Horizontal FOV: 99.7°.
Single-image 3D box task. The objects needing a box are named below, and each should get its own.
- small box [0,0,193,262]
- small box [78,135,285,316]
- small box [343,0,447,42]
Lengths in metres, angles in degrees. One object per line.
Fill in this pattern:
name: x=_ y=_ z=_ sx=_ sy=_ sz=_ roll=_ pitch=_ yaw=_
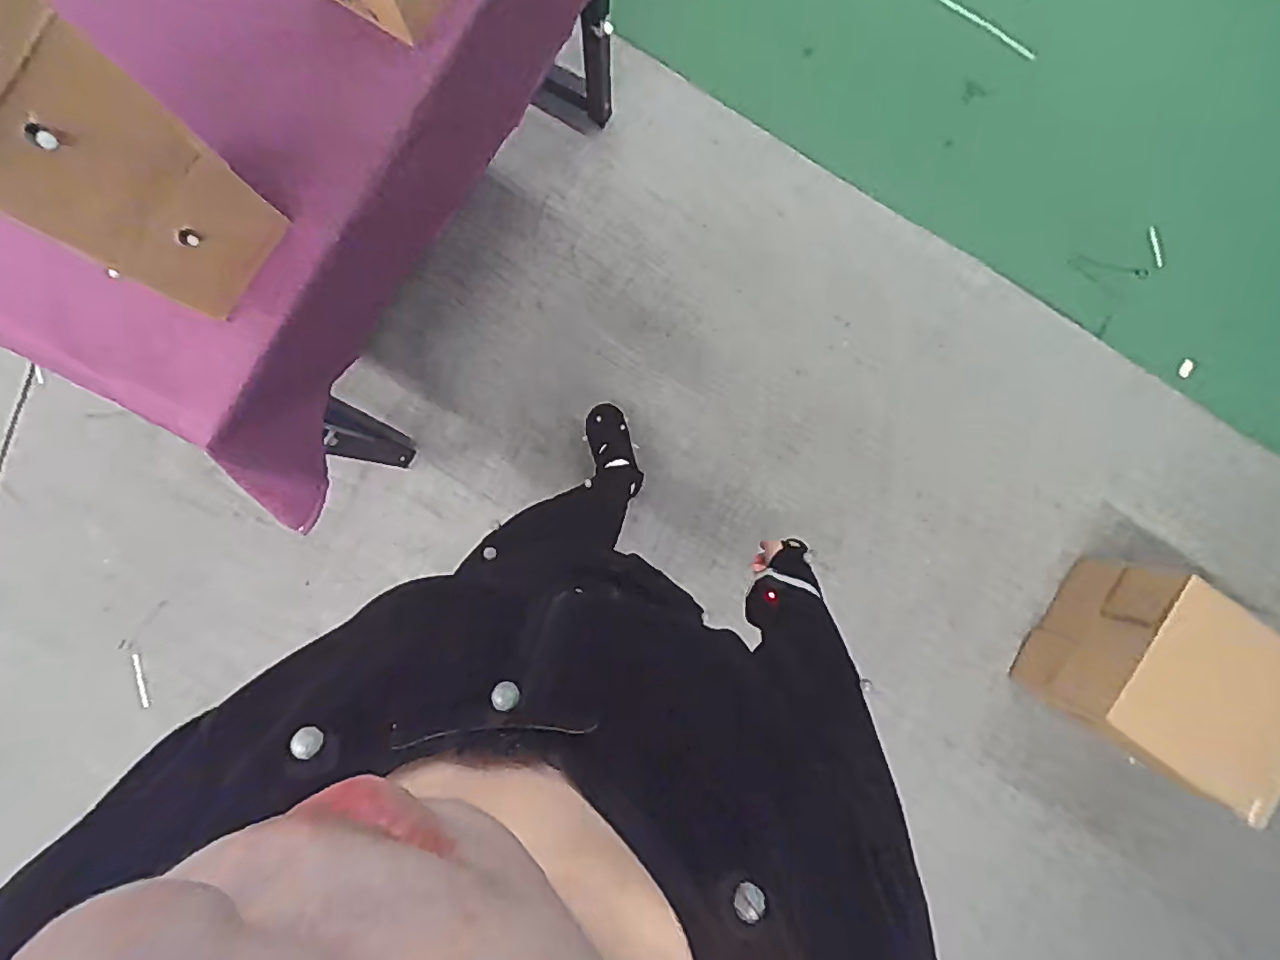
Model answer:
small box: x=-0.594 y=-0.353 z=0.521 sx=0.168 sy=0.176 sz=0.179 roll=32 pitch=87 yaw=0
small box: x=-0.602 y=-0.340 z=0.683 sx=0.168 sy=0.176 sz=0.179 roll=32 pitch=86 yaw=-1
small box: x=-0.346 y=-0.752 z=0.715 sx=0.168 sy=0.176 sz=0.179 roll=32 pitch=87 yaw=0
